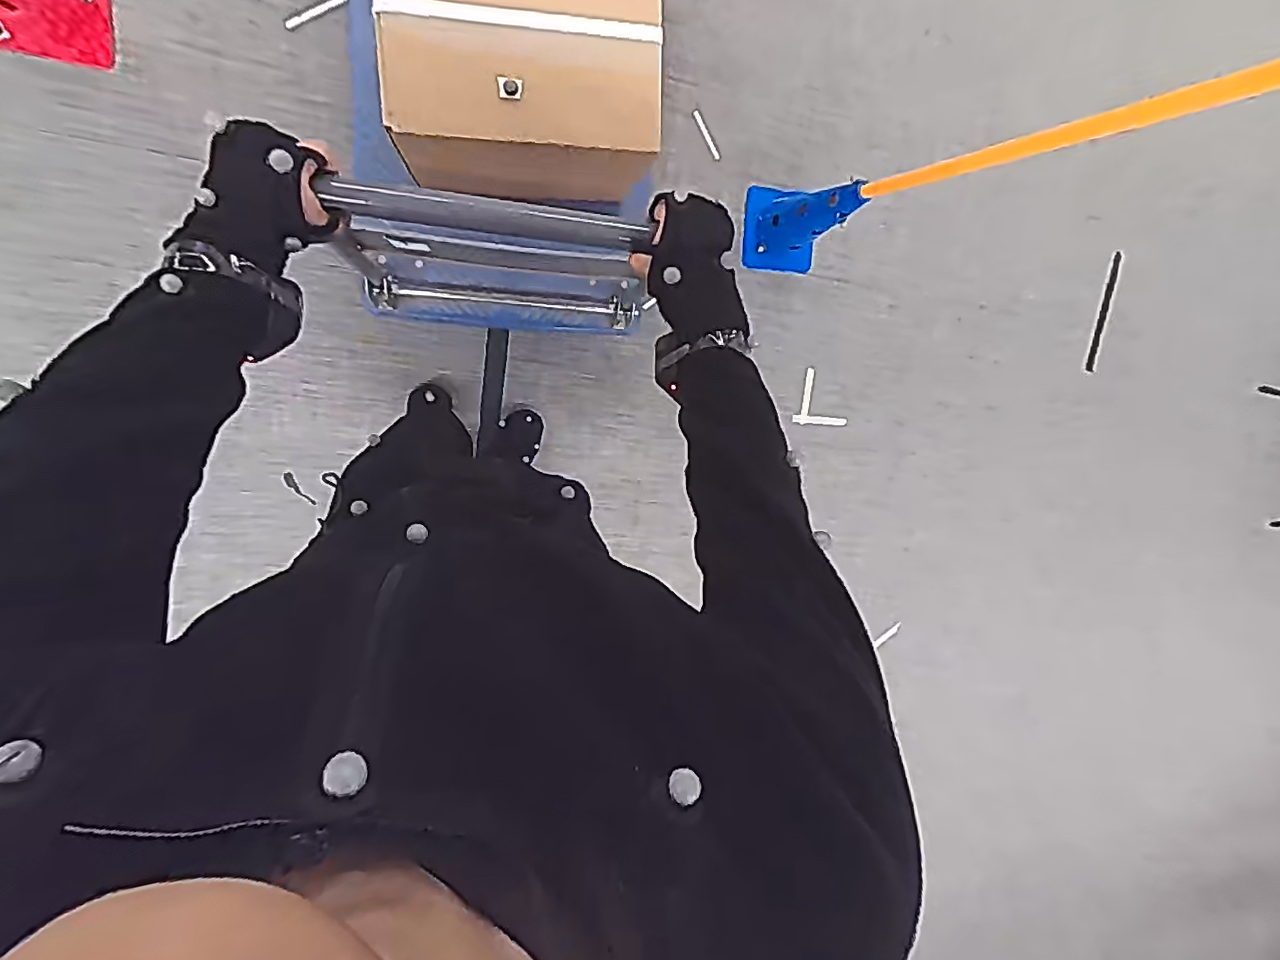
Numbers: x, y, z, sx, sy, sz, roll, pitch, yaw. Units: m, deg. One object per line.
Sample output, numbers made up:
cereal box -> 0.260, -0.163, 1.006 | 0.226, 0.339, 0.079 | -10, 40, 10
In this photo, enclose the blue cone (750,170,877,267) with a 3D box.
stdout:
blue cone -> 0.417, -0.631, 1.262 | 0.193, 0.380, 0.192 | 1, 101, -14
